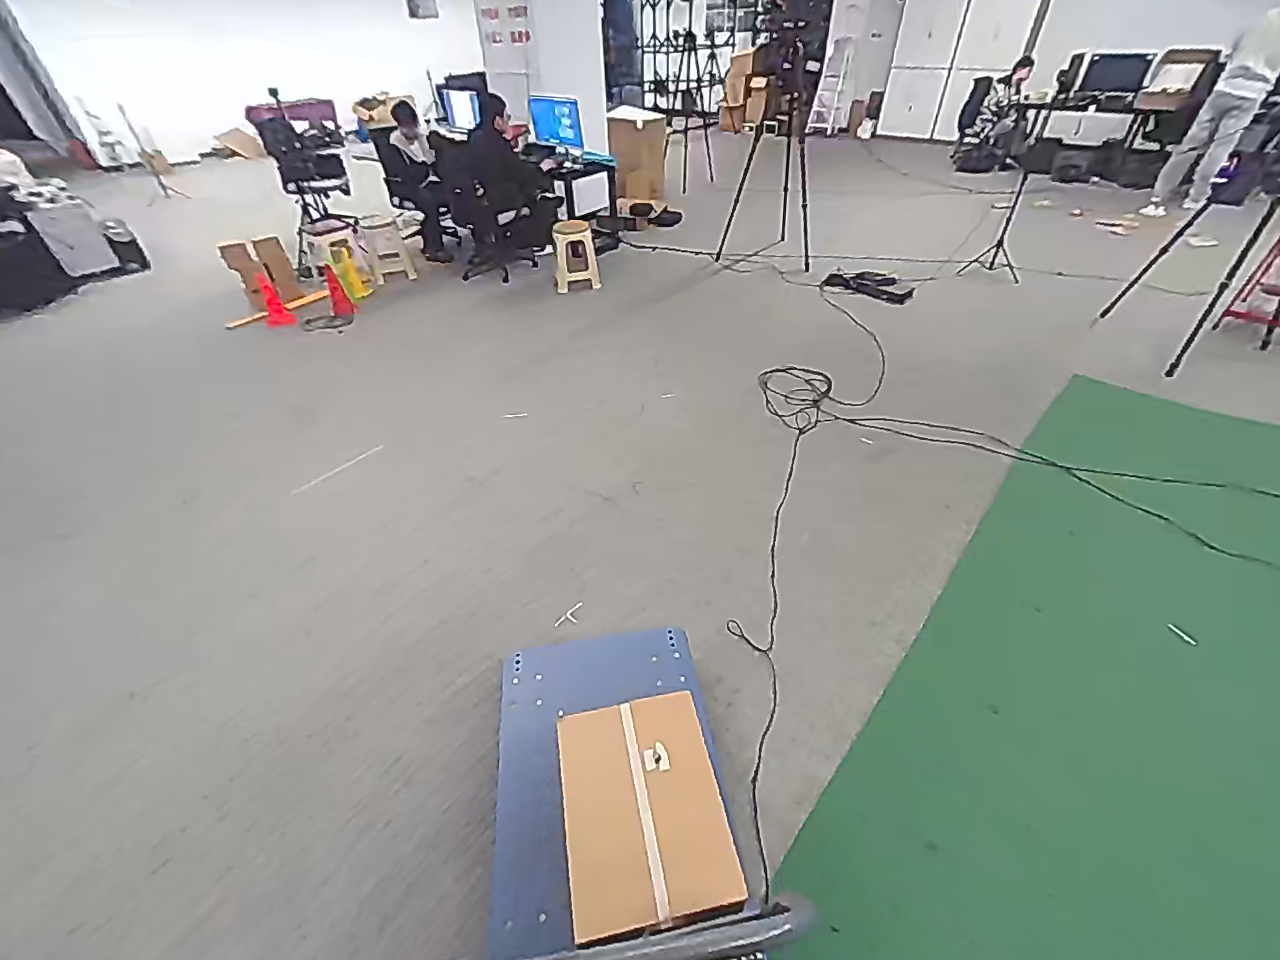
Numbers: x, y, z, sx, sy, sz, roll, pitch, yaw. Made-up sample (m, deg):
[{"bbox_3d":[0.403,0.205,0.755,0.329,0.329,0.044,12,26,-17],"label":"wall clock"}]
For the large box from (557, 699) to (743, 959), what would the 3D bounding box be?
[{"bbox_3d":[0.005,0.773,1.193,0.320,0.320,0.408,-8,40,-8],"label":"large box"}]
